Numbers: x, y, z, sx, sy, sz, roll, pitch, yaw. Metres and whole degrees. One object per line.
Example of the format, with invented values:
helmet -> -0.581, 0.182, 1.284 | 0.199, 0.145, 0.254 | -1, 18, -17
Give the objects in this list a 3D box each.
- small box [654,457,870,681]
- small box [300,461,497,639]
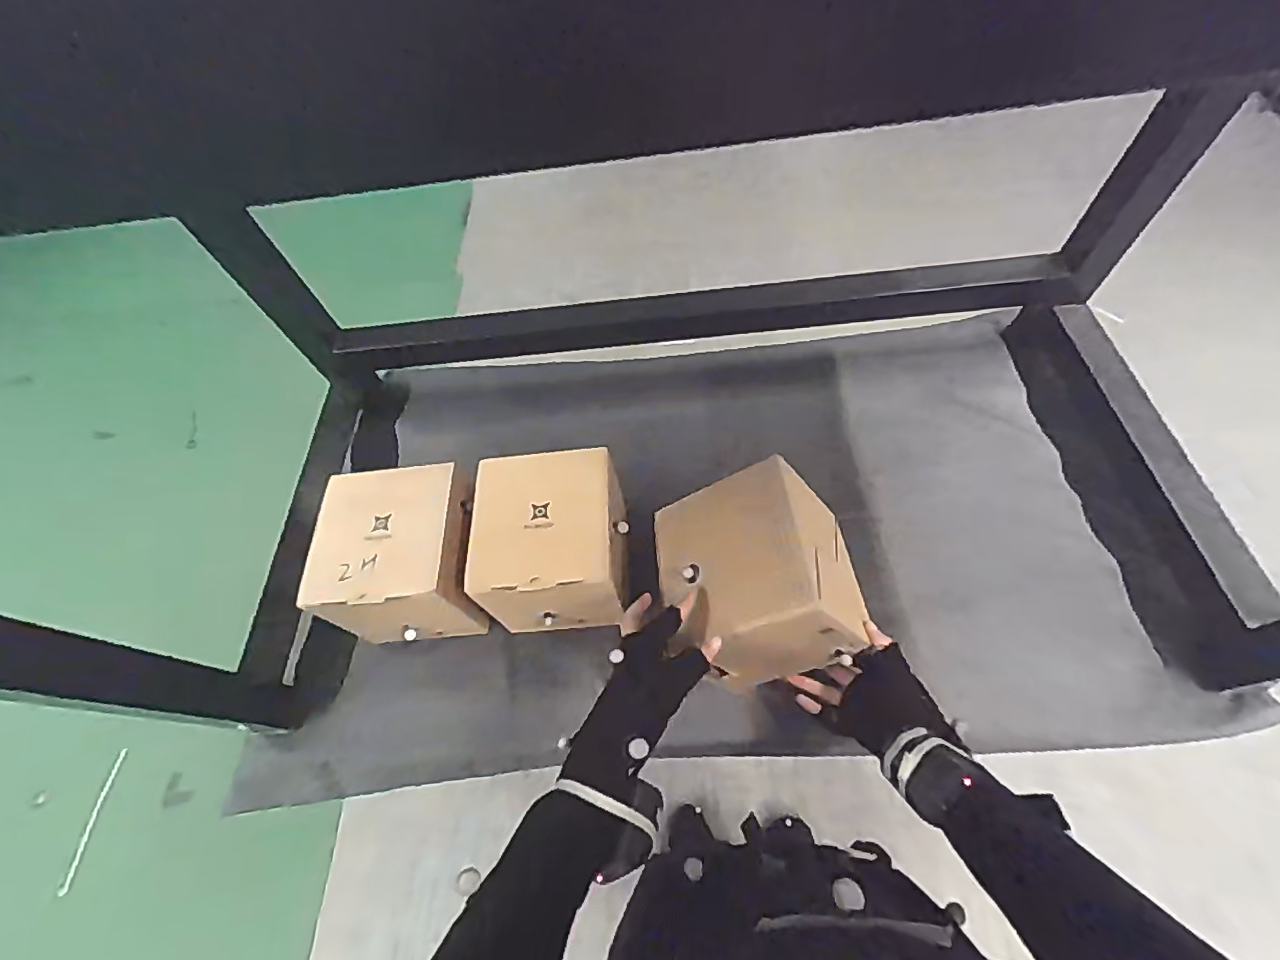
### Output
small box -> 0.136, 0.105, 0.606 | 0.176, 0.168, 0.179 | -26, 48, 28
small box -> -0.298, 0.097, 0.713 | 0.168, 0.176, 0.179 | -6, 59, 5
